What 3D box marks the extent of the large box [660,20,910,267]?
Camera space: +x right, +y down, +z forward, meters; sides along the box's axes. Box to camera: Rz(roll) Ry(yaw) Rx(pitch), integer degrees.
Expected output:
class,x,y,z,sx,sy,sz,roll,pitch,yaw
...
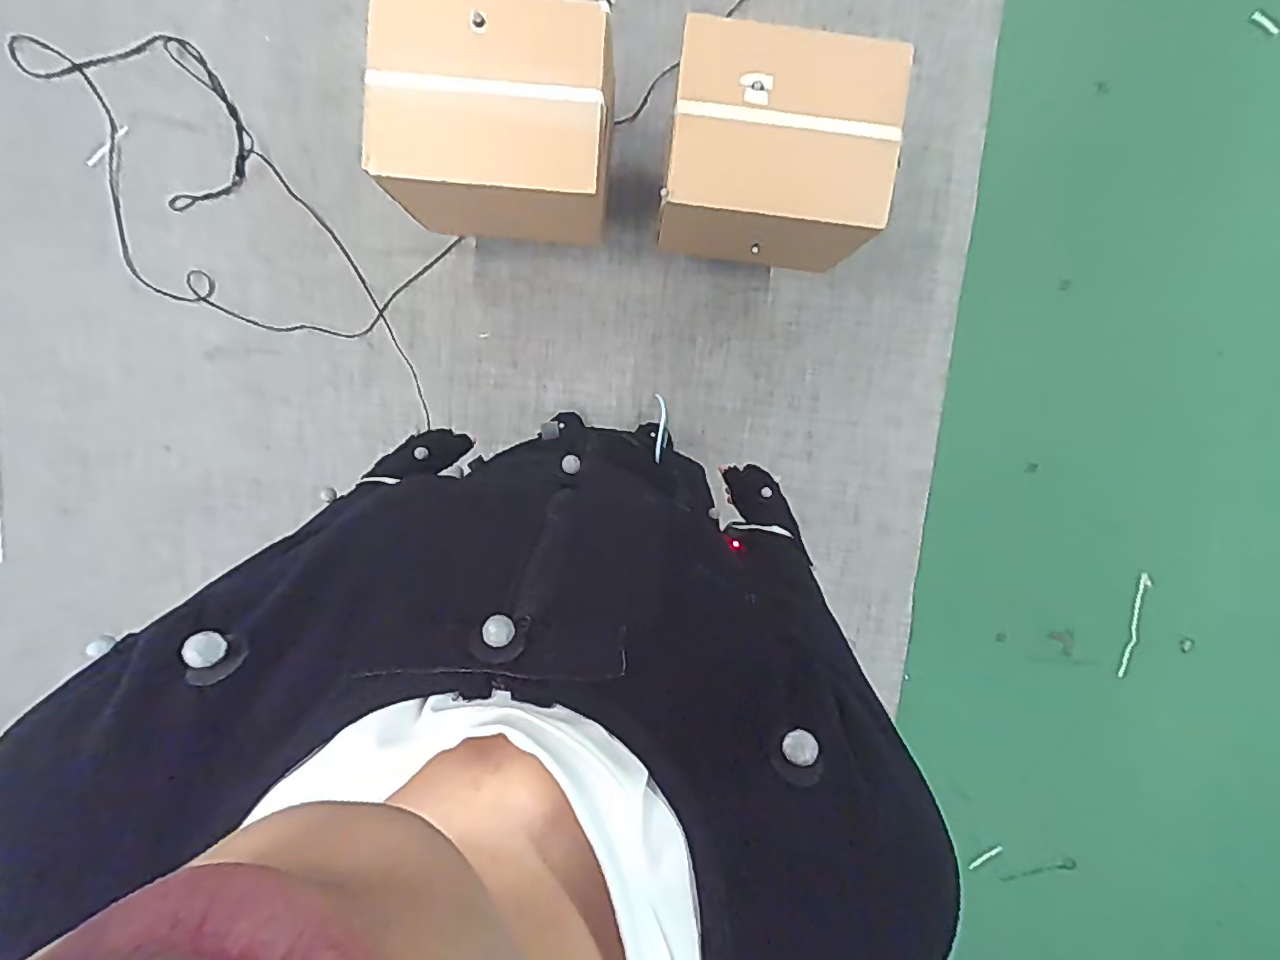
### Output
class,x,y,z,sx,sy,sz,roll,pitch,yaw
large box,0.264,-0.651,1.112,0.408,0.320,0.320,7,97,-2
